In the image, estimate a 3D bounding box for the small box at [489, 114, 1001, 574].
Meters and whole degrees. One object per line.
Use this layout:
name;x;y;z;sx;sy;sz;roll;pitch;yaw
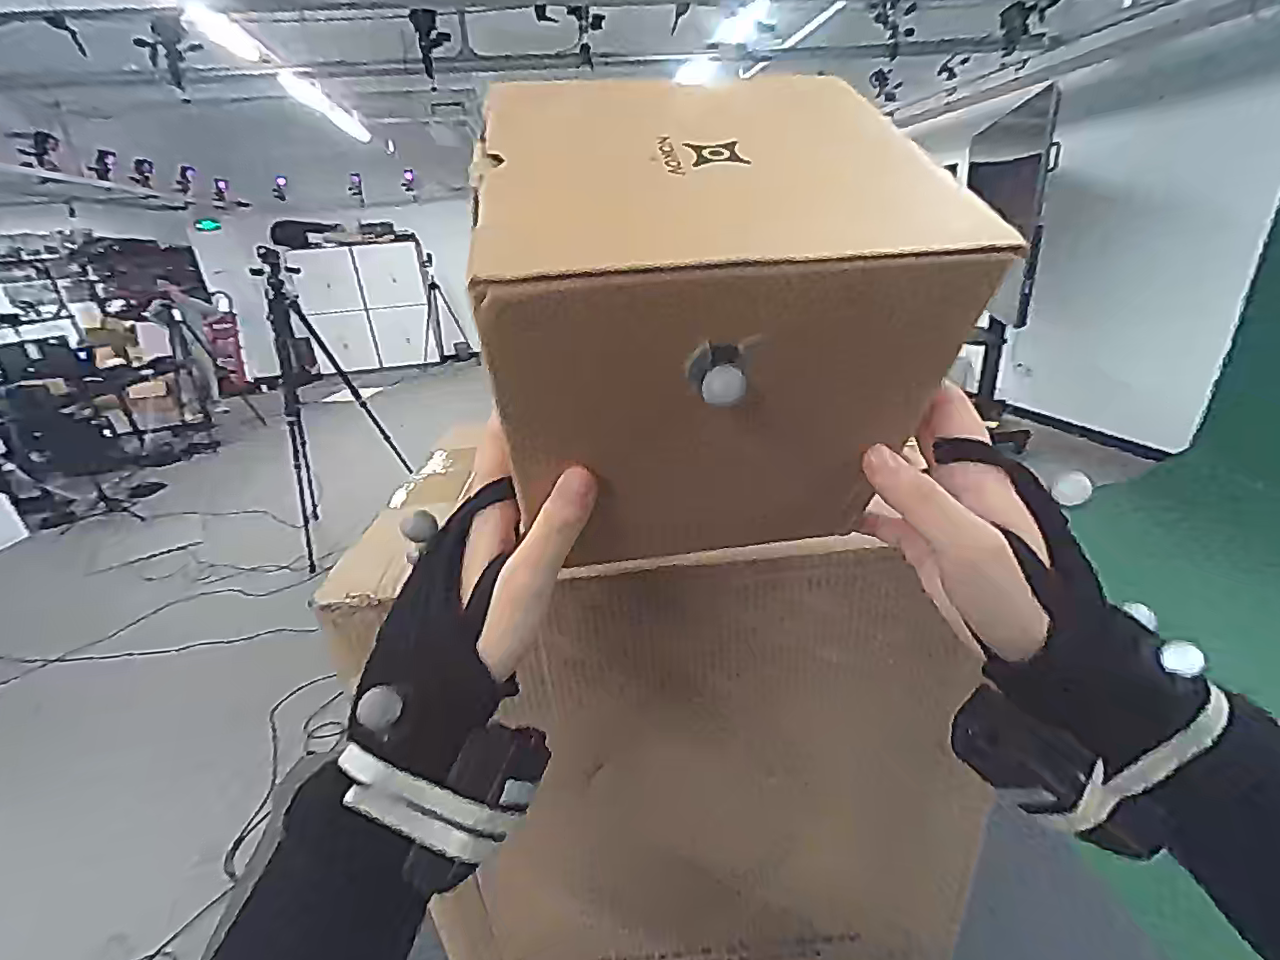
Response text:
small box;0.027;-0.067;0.285;0.179;0.176;0.168;-5;50;-6
